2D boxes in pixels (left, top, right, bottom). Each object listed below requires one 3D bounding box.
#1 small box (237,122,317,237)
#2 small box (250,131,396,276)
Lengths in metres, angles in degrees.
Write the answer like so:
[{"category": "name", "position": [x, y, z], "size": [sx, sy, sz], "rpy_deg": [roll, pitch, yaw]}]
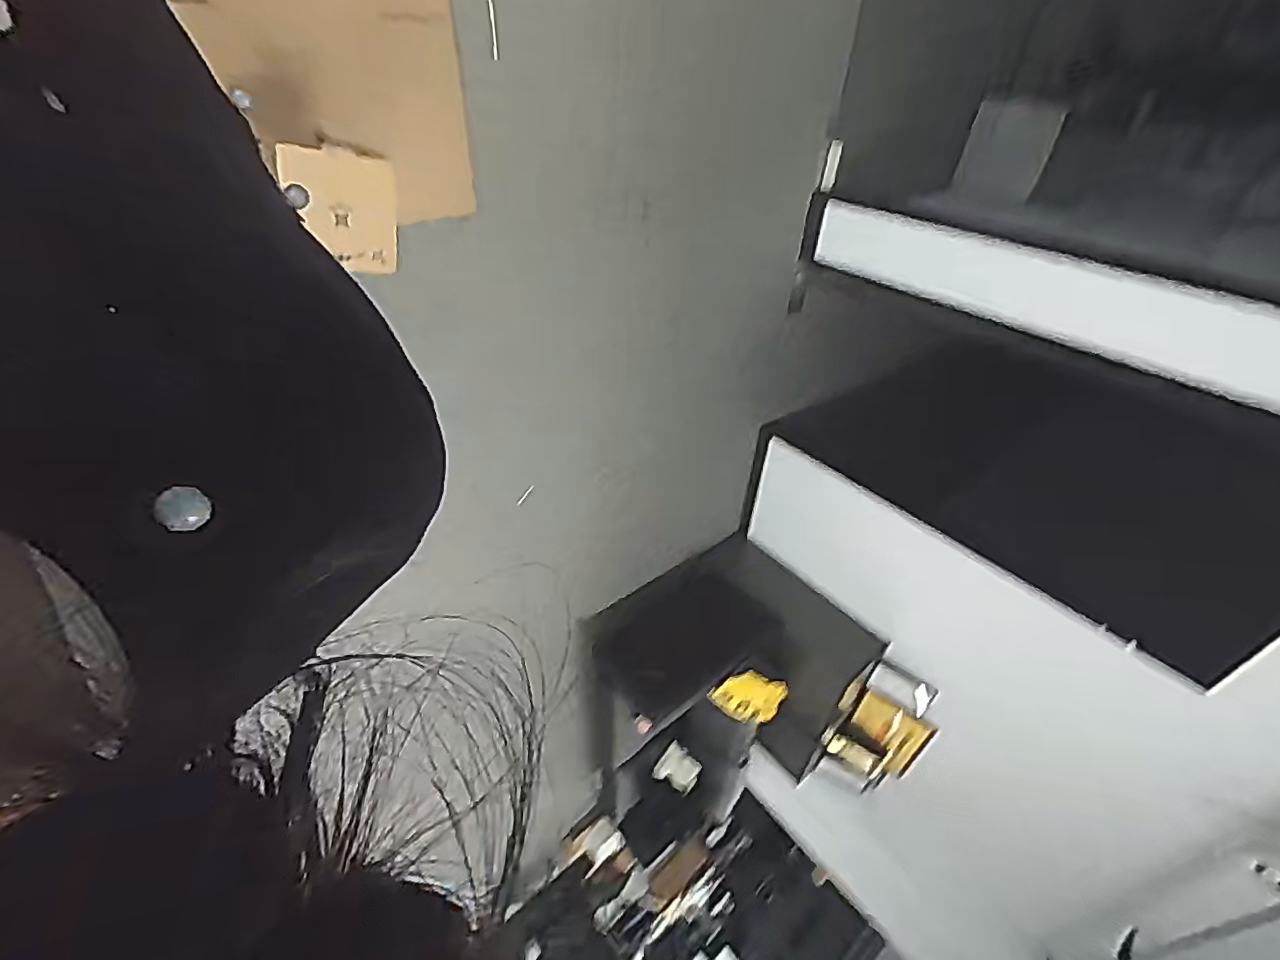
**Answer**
[{"category": "small box", "position": [-0.613, -0.531, 0.993], "size": [0.179, 0.176, 0.168], "rpy_deg": [-6, 125, -46]}, {"category": "small box", "position": [-0.517, -0.451, 0.887], "size": [0.168, 0.176, 0.179], "rpy_deg": [-15, 131, -41]}]
